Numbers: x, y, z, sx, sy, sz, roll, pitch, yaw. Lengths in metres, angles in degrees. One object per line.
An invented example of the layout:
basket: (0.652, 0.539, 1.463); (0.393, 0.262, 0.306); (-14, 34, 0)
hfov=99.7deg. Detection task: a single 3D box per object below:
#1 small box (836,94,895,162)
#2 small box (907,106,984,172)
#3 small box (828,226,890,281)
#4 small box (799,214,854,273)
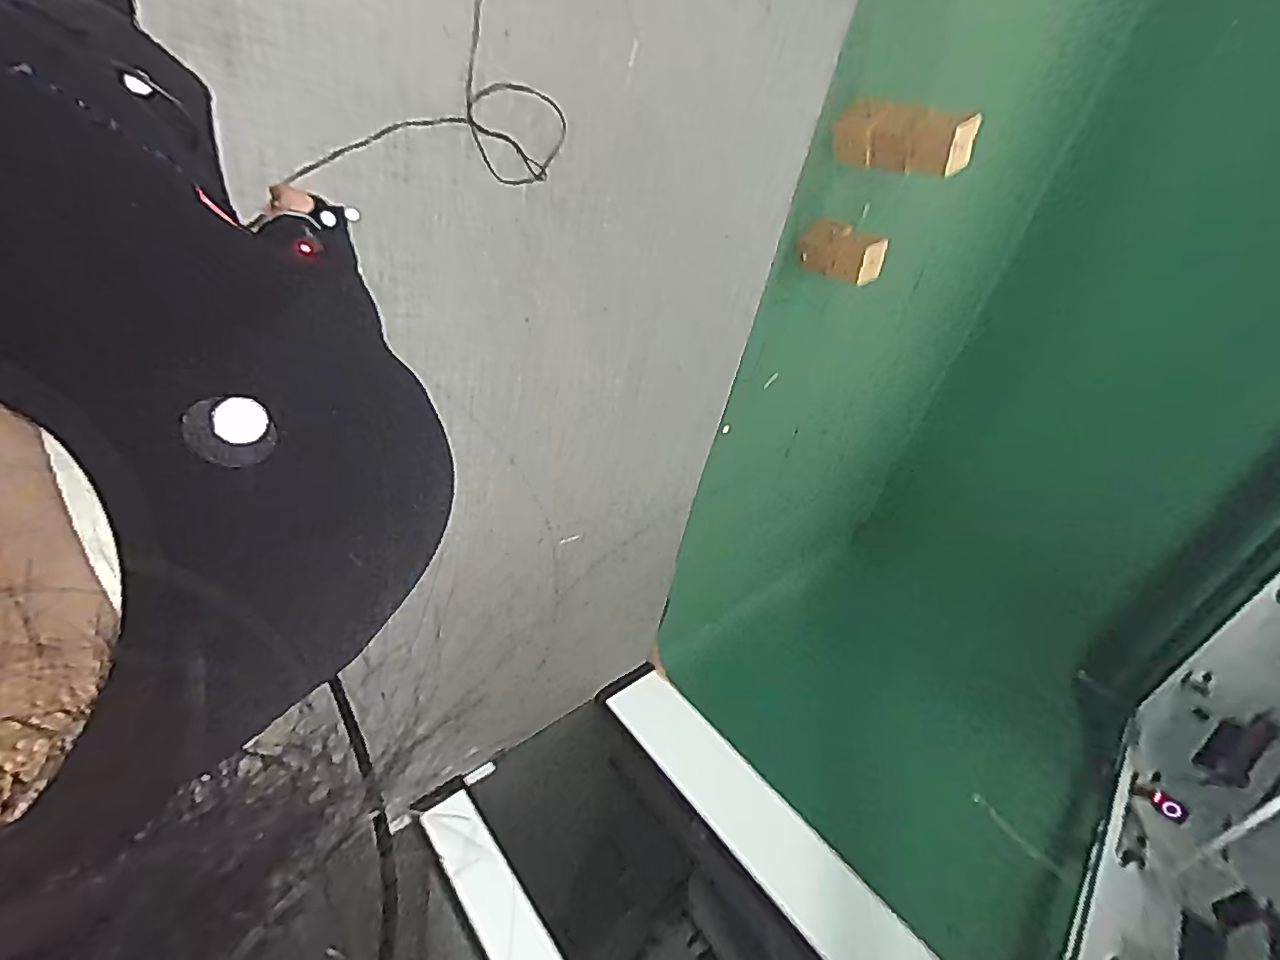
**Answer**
small box: (0.925, -1.455, 2.231); (0.179, 0.176, 0.168); (-48, 145, -7)
small box: (1.155, -1.300, 2.052); (0.179, 0.176, 0.168); (-36, 142, -22)
small box: (0.960, -1.001, 2.383); (0.179, 0.176, 0.168); (-31, 141, -29)
small box: (0.848, -1.085, 2.468); (0.179, 0.176, 0.168); (-43, 144, -12)
